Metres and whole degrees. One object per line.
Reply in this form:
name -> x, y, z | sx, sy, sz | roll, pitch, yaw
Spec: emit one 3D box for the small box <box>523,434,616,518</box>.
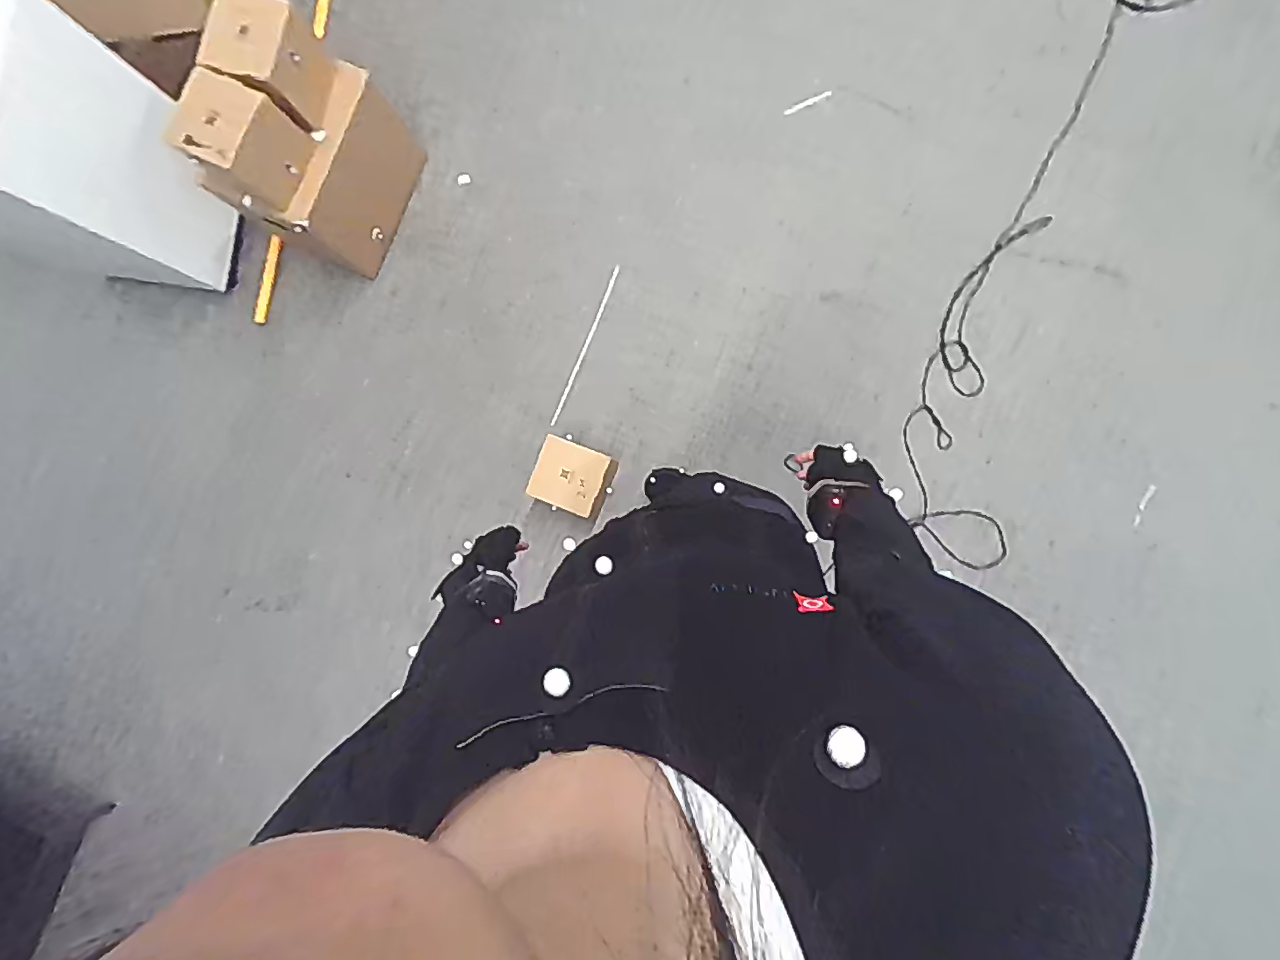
small box -> -0.178, -0.007, 1.421 | 0.179, 0.176, 0.168 | 21, 90, 5
